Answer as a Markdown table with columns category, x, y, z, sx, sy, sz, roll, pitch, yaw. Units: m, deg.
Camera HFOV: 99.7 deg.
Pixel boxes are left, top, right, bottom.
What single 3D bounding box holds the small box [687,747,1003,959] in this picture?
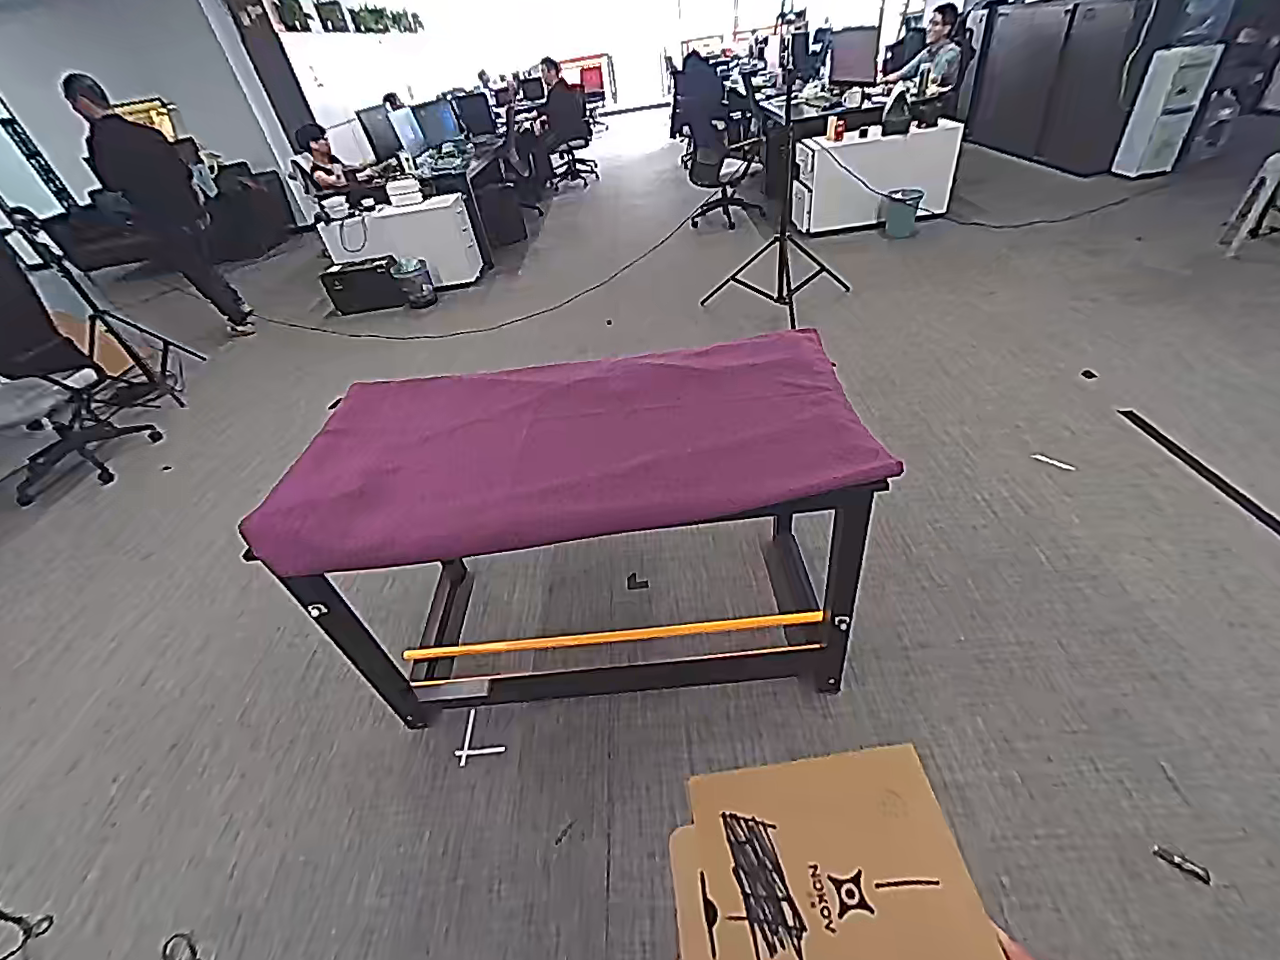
| category | x | y | z | sx | sy | sz | roll | pitch | yaw |
| --- | --- | --- | --- | --- | --- | --- | --- | --- | --- |
| small box | 0.139 | 0.329 | 0.412 | 0.179 | 0.176 | 0.168 | -9 | 45 | 1 |
